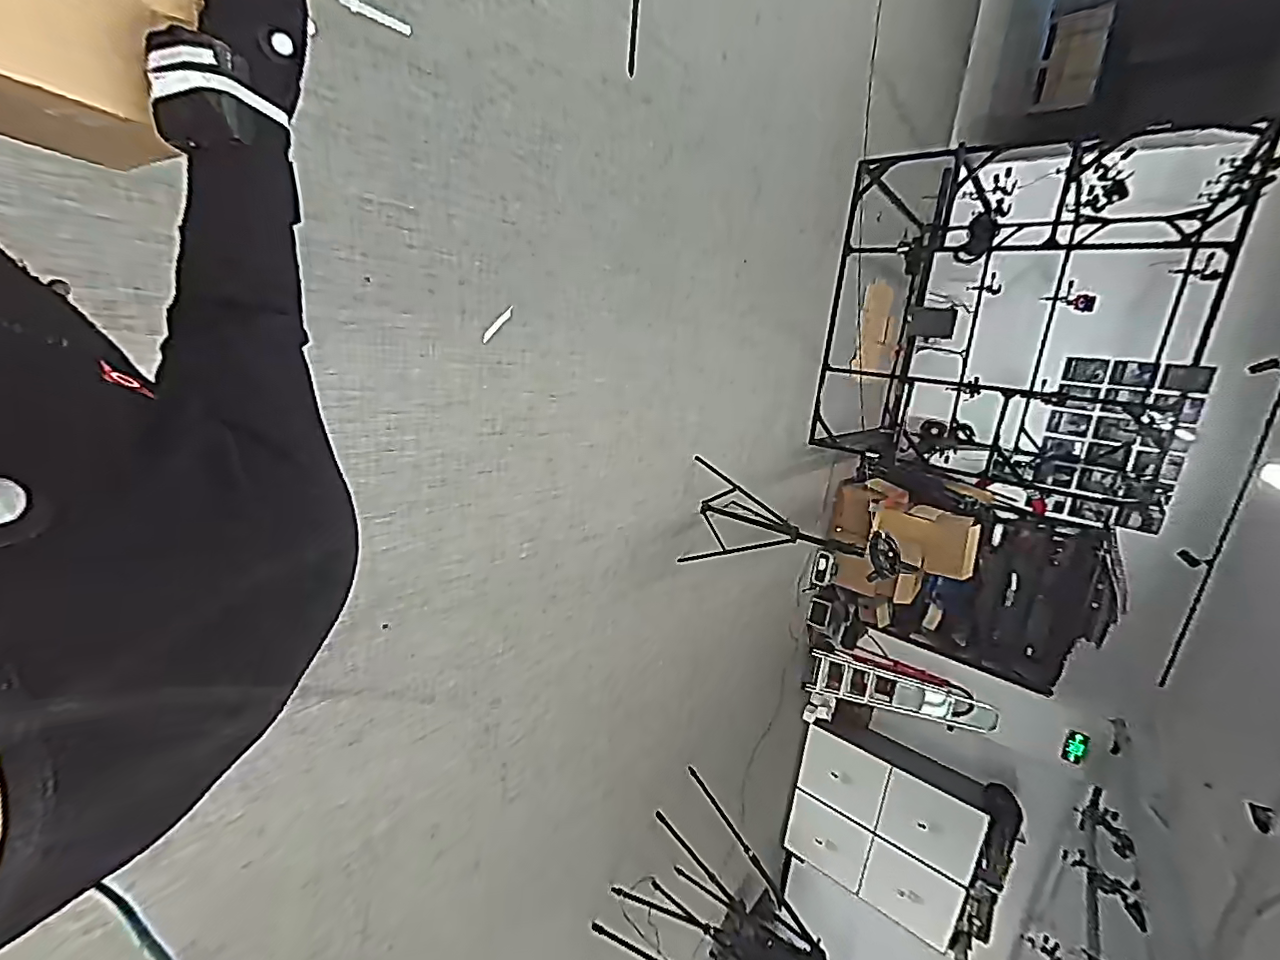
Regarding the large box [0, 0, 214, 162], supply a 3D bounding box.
[{"bbox_3d":[-0.548,-0.443,0.323,0.408,0.320,0.320,-5,110,-54],"label":"large box"}]
